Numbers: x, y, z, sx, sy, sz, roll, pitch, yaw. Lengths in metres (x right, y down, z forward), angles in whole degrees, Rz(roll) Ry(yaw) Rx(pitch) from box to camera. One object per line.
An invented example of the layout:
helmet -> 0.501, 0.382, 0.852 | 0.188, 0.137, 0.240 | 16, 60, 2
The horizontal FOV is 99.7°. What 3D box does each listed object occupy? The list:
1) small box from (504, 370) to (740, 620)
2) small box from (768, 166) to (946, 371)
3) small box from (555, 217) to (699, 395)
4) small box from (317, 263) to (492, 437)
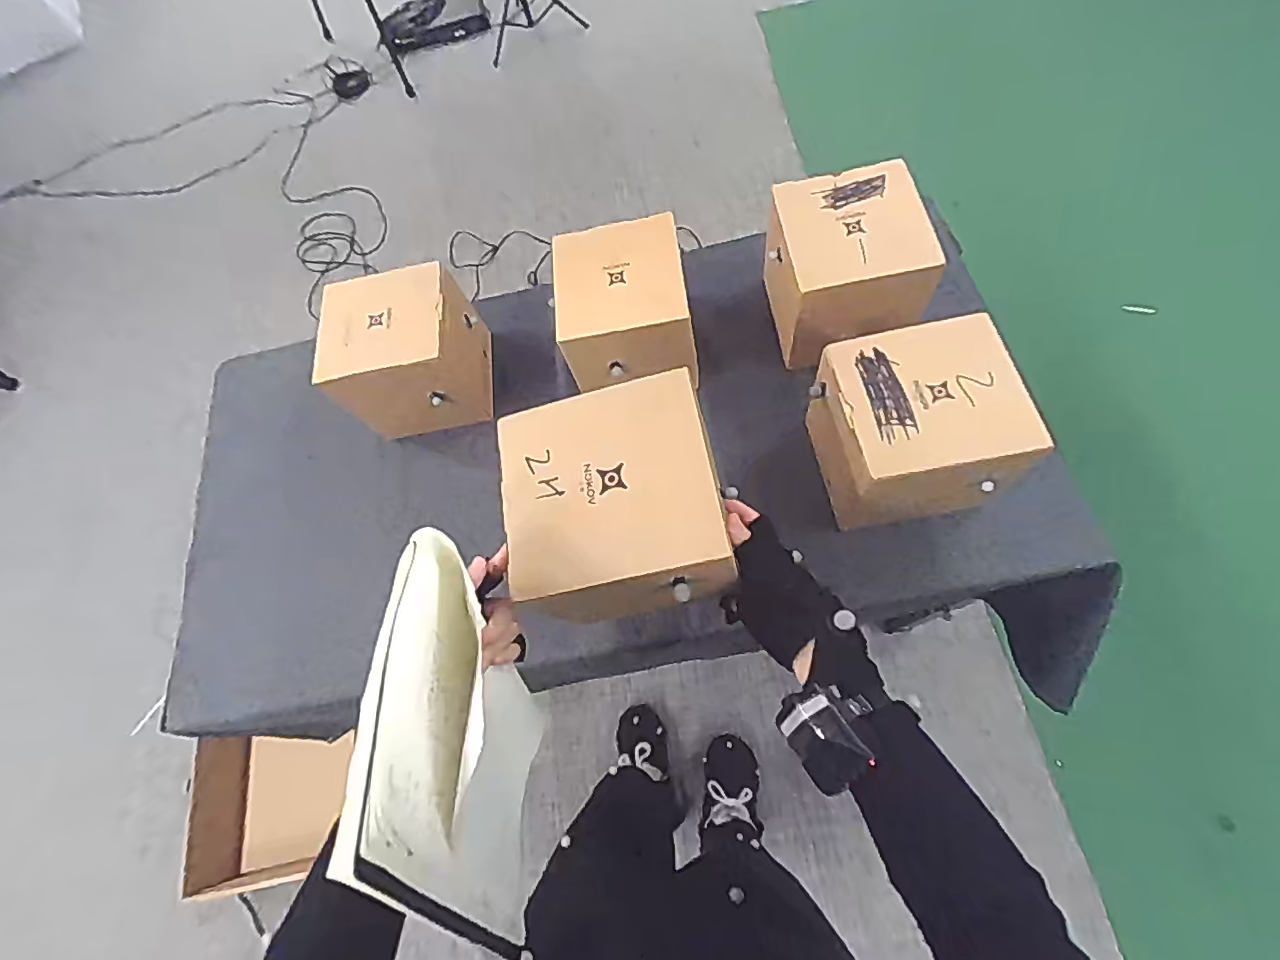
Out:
small box -> -0.007, 0.028, 0.508 | 0.179, 0.176, 0.168 | -14, 66, 10
small box -> 0.271, -0.274, 0.724 | 0.168, 0.176, 0.179 | -9, 67, 6
small box -> -0.013, -0.223, 0.755 | 0.168, 0.176, 0.179 | -9, 67, 6
small box -> -0.326, -0.180, 0.787 | 0.179, 0.176, 0.168 | -9, 67, 4
